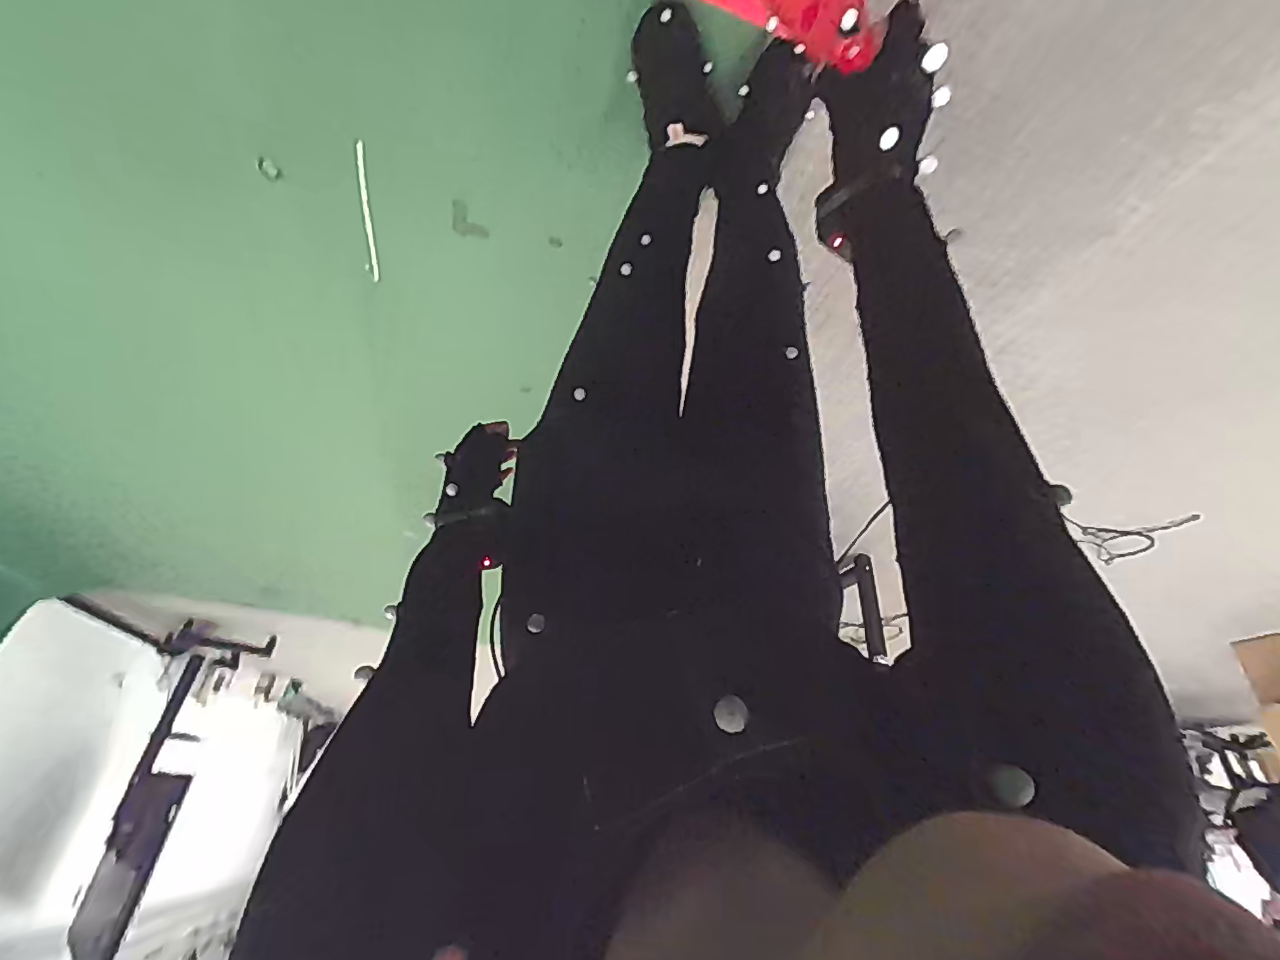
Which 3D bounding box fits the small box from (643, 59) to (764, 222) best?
[{"bbox_3d":[0.096,-0.565,0.909,0.168,0.176,0.179,-3,150,-5],"label":"small box"}]
